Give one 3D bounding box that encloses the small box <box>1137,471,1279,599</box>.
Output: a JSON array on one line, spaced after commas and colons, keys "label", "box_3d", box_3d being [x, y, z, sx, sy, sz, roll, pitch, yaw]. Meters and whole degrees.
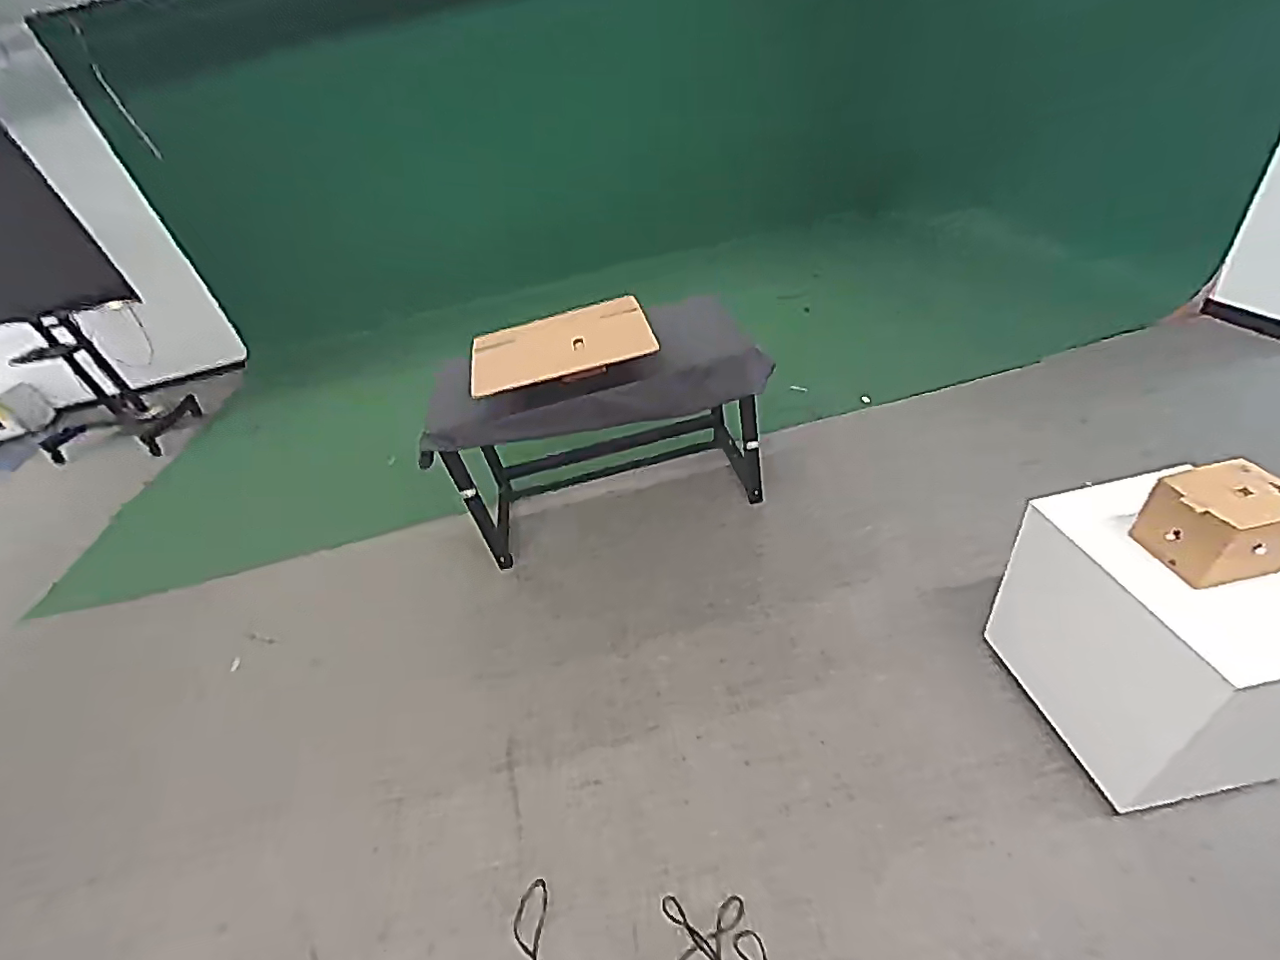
[{"label": "small box", "box_3d": [1.152, 0.112, 1.078, 0.179, 0.176, 0.168, -14, 37, -2]}]
